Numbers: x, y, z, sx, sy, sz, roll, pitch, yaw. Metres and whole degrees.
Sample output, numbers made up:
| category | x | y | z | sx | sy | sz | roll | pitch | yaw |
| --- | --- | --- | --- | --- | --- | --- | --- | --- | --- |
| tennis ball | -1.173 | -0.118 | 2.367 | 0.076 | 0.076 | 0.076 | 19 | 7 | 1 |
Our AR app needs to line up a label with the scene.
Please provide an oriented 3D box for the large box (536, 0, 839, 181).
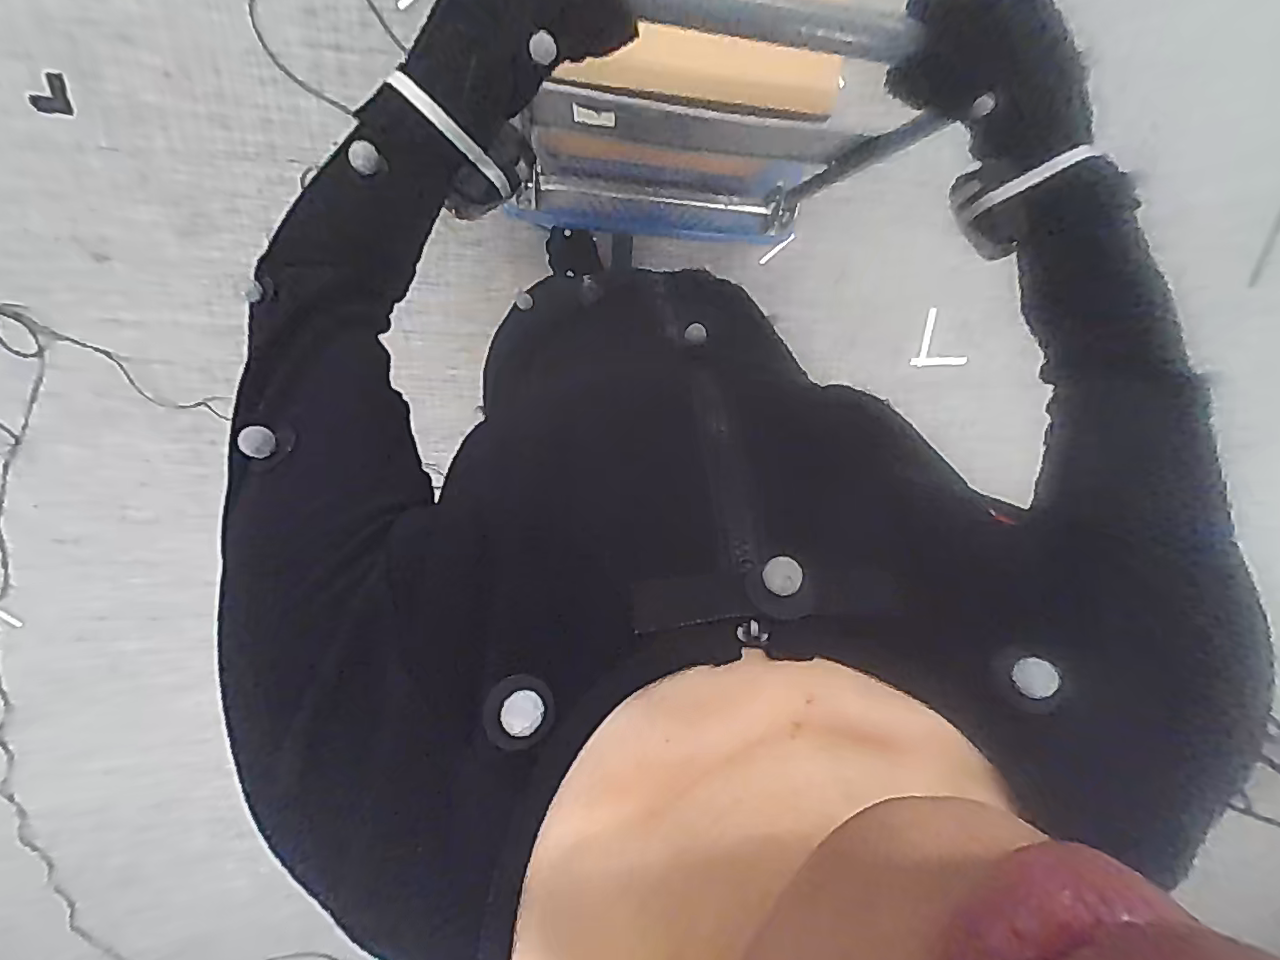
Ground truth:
| category | x | y | z | sx | sy | sz | roll | pitch | yaw |
| --- | --- | --- | --- | --- | --- | --- | --- | --- | --- |
| large box | 0.047 | -0.684 | 0.833 | 0.408 | 0.320 | 0.320 | 0 | 106 | -11 |
